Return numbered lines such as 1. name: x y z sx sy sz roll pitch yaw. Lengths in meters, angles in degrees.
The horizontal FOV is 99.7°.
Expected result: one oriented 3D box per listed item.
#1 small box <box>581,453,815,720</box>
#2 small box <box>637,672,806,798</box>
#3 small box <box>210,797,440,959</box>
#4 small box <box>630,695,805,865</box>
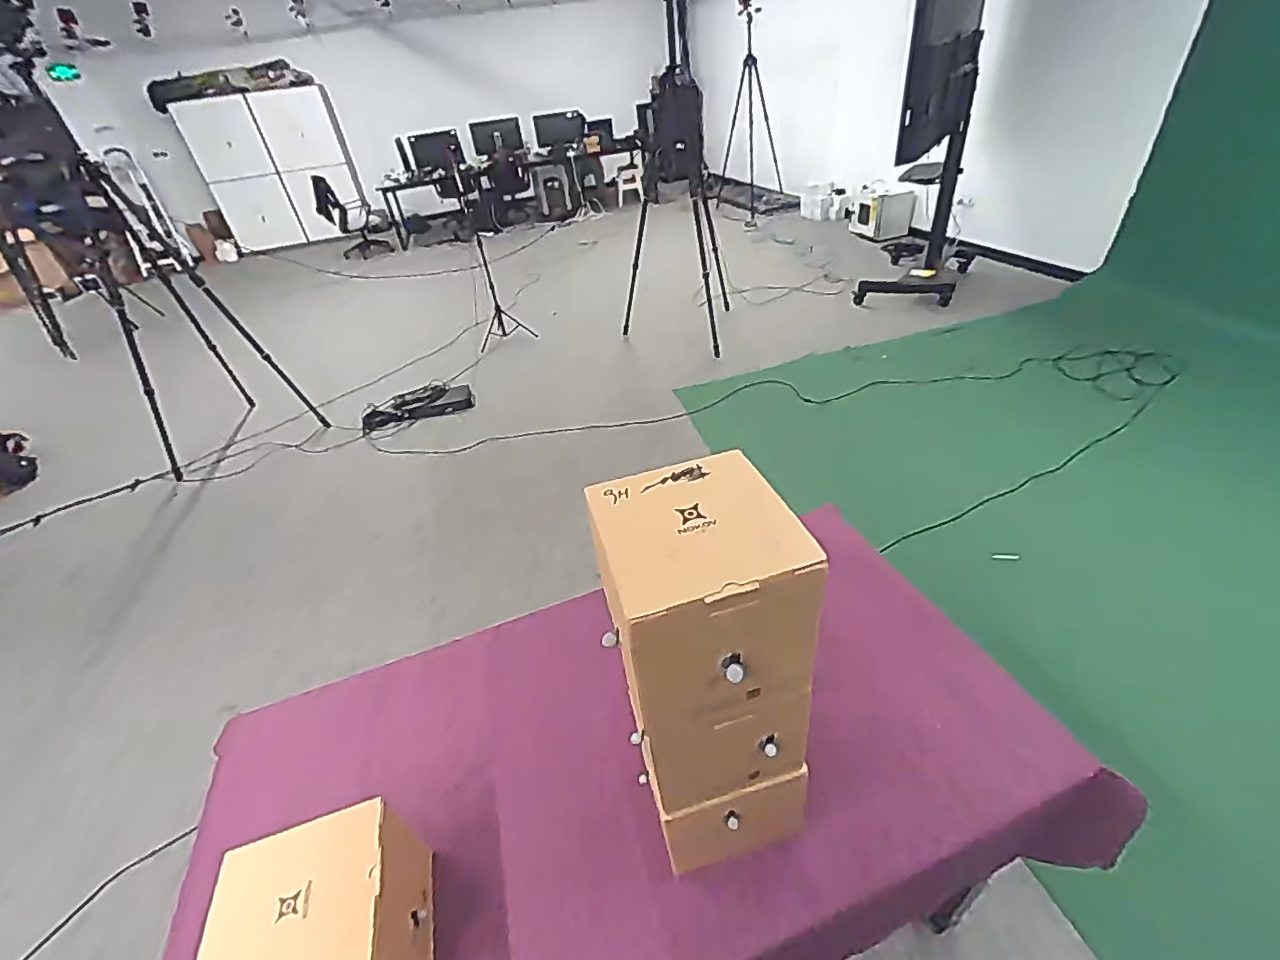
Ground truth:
1. small box: 0.050 0.104 0.523 0.168 0.176 0.179 -14 38 -8
2. small box: 0.075 0.234 0.621 0.168 0.176 0.179 -14 36 -7
3. small box: -0.347 0.513 0.621 0.179 0.176 0.168 -16 37 -10
4. small box: 0.099 0.367 0.711 0.179 0.176 0.168 -15 37 -6
